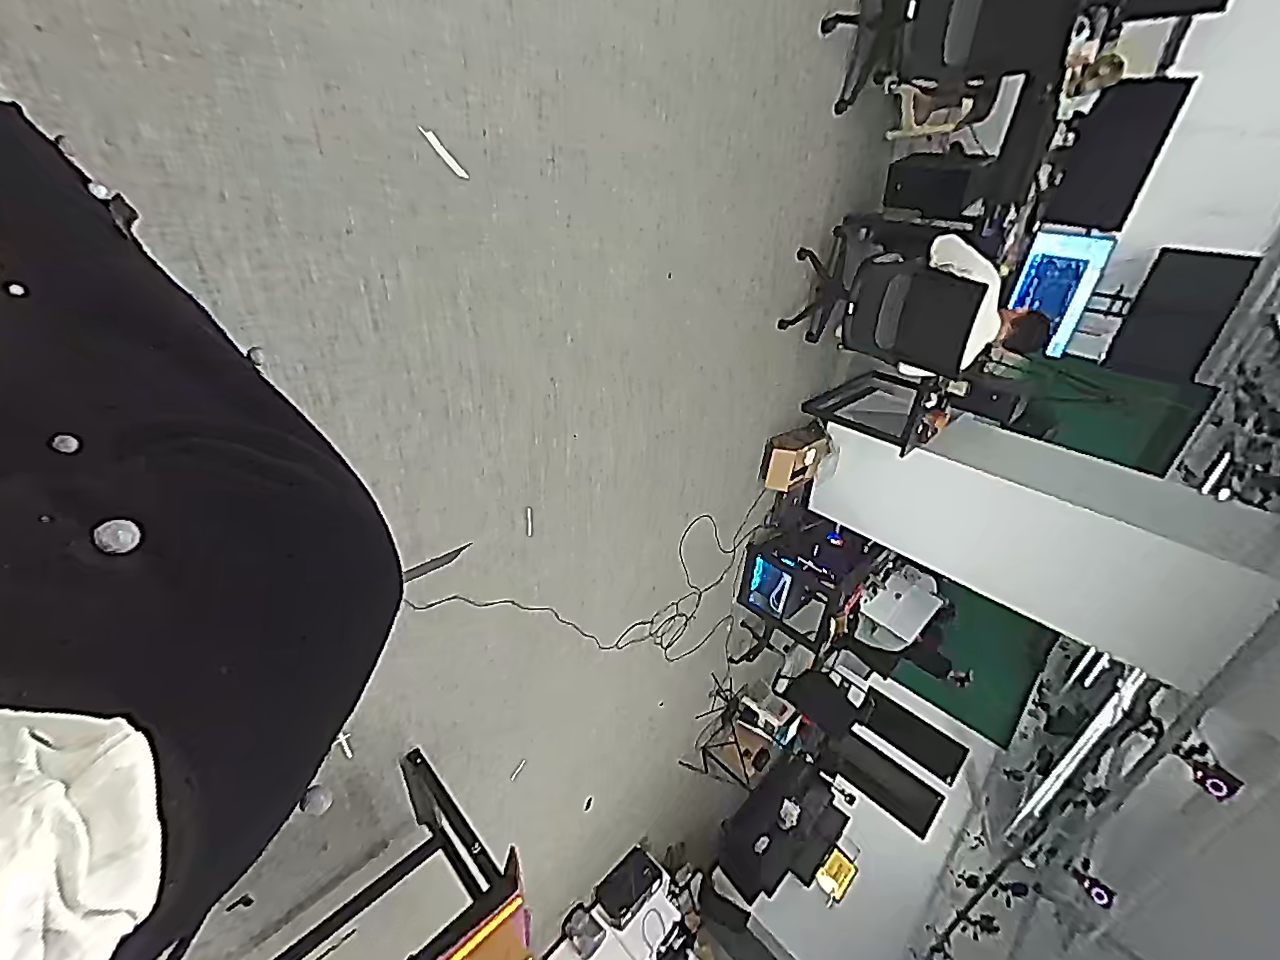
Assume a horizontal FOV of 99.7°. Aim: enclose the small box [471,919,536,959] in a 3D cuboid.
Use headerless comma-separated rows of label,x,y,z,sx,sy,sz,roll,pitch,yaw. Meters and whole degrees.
small box,-0.465,1.660,1.832,0.179,0.176,0.168,-25,131,-38
